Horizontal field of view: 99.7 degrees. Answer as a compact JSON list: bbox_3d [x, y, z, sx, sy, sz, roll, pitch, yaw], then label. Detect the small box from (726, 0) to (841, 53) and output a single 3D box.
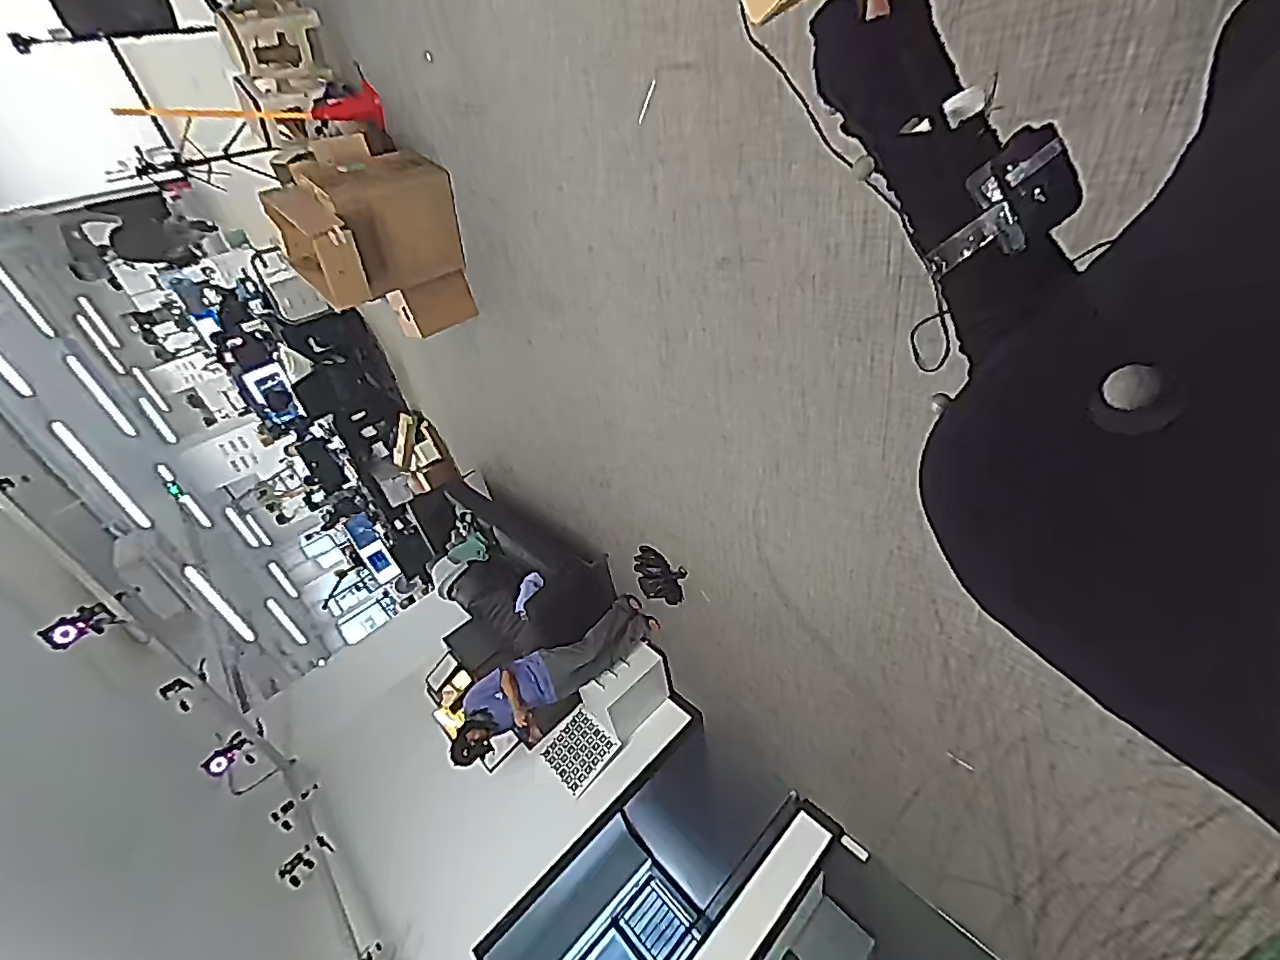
[{"bbox_3d":[0.140,-0.460,0.371,0.179,0.176,0.168,55,157,-18],"label":"small box"}]
